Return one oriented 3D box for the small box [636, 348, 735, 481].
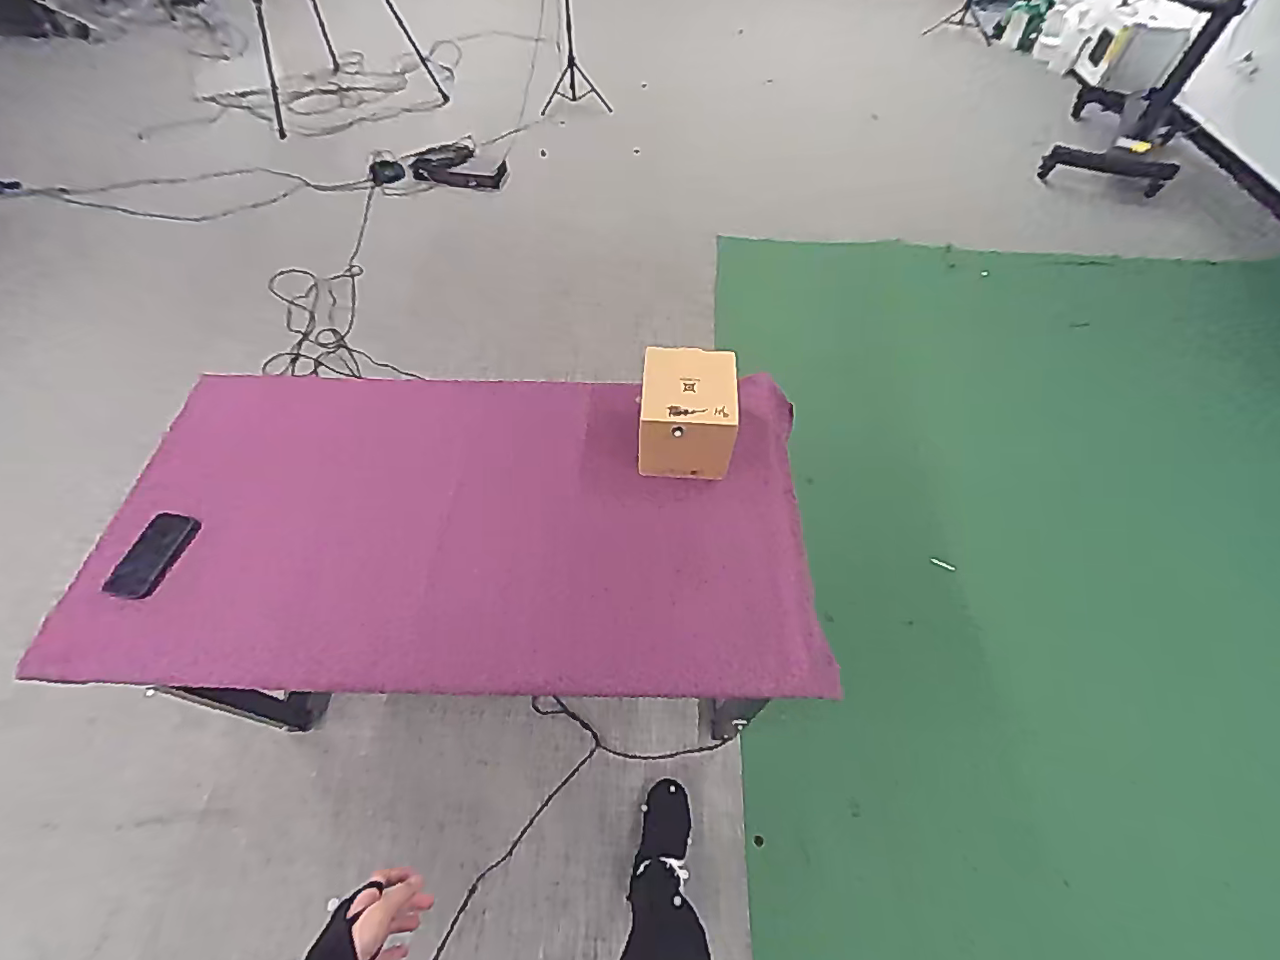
[{"bbox_3d":[0.080,-0.119,0.998,0.168,0.176,0.179,3,56,2],"label":"small box"}]
